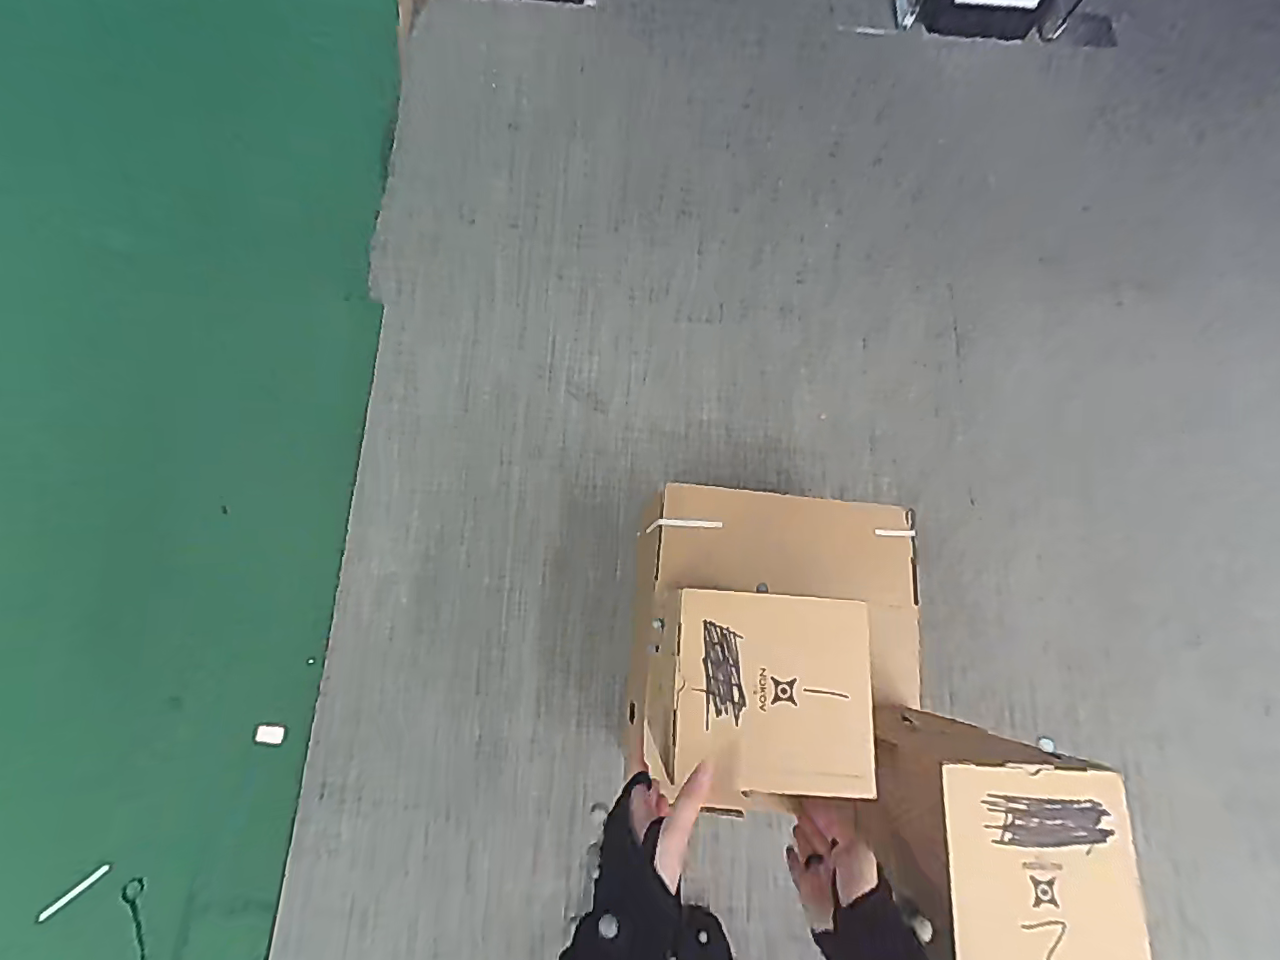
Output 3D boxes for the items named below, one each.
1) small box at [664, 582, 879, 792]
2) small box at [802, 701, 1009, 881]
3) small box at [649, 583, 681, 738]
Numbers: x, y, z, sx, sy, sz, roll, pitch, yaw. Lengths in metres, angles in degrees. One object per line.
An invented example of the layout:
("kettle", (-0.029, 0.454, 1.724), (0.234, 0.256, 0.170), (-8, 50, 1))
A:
("small box", (0.117, 0.198, 0.550), (0.179, 0.176, 0.168), (3, 76, -1))
("small box", (0.320, 0.378, 0.688), (0.179, 0.176, 0.168), (3, 75, -3))
("small box", (0.103, 0.237, 0.711), (0.168, 0.176, 0.179), (5, 74, -2))
